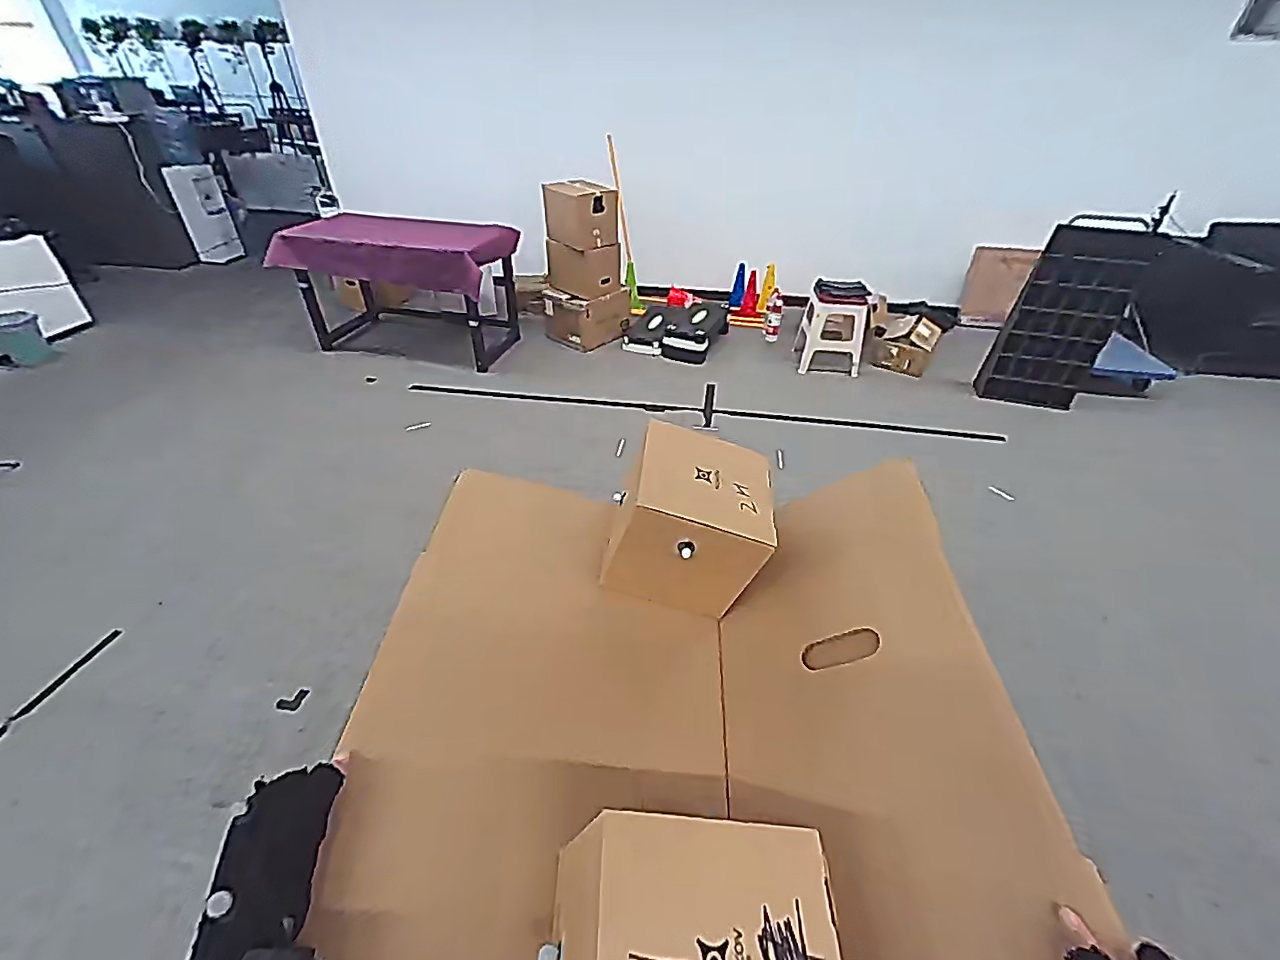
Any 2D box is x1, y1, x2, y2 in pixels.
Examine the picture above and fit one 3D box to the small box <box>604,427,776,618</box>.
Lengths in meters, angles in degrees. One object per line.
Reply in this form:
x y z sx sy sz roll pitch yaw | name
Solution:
0.062 0.062 0.728 0.179 0.176 0.168 18 43 -7 | small box
